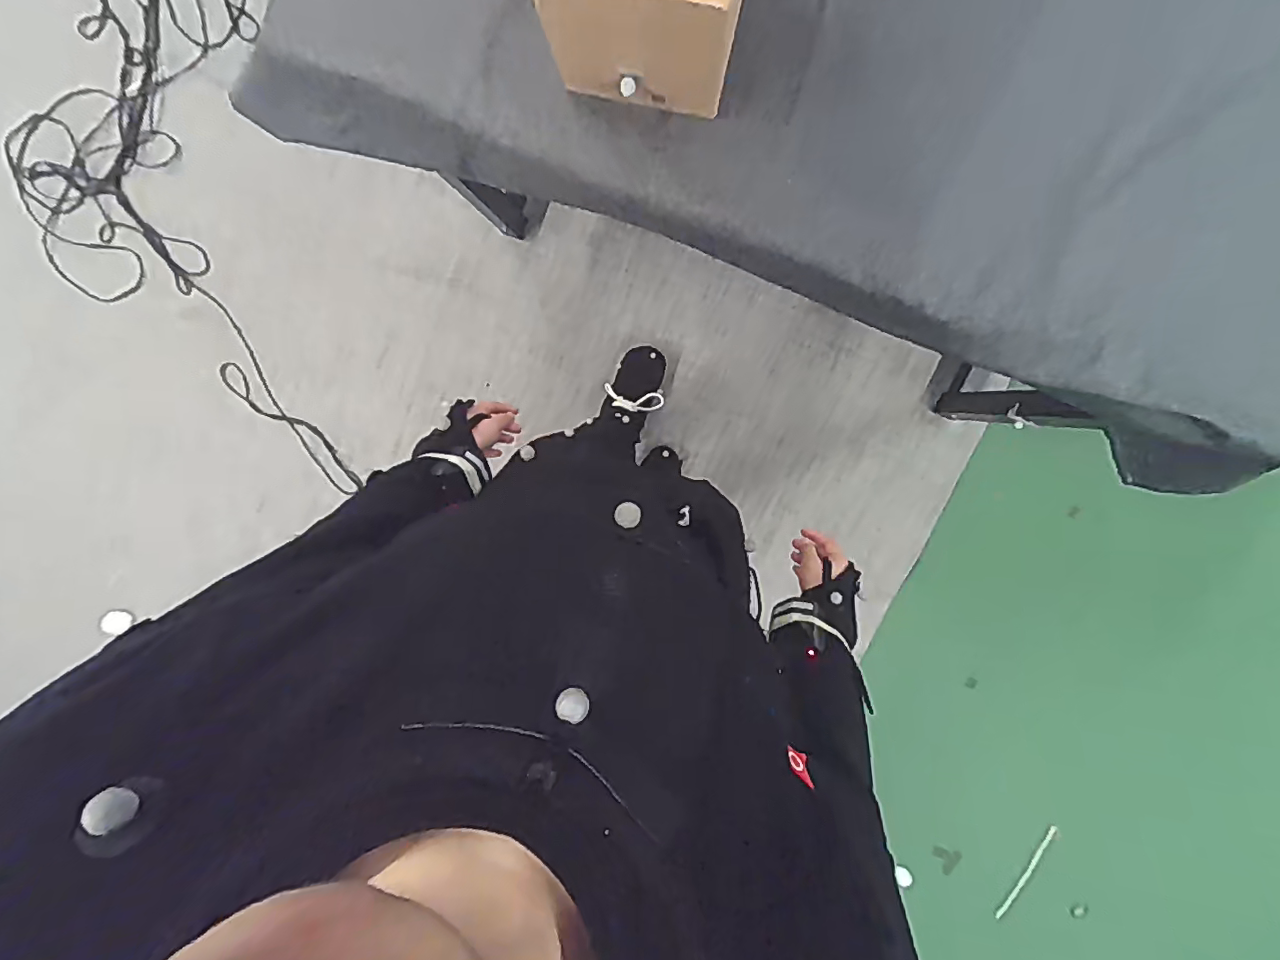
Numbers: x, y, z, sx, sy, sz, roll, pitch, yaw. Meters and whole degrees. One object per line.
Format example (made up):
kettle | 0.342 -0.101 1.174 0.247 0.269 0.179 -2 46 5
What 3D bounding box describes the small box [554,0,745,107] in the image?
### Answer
small box | 0.016 -0.477 0.476 0.168 0.176 0.179 13 100 2
